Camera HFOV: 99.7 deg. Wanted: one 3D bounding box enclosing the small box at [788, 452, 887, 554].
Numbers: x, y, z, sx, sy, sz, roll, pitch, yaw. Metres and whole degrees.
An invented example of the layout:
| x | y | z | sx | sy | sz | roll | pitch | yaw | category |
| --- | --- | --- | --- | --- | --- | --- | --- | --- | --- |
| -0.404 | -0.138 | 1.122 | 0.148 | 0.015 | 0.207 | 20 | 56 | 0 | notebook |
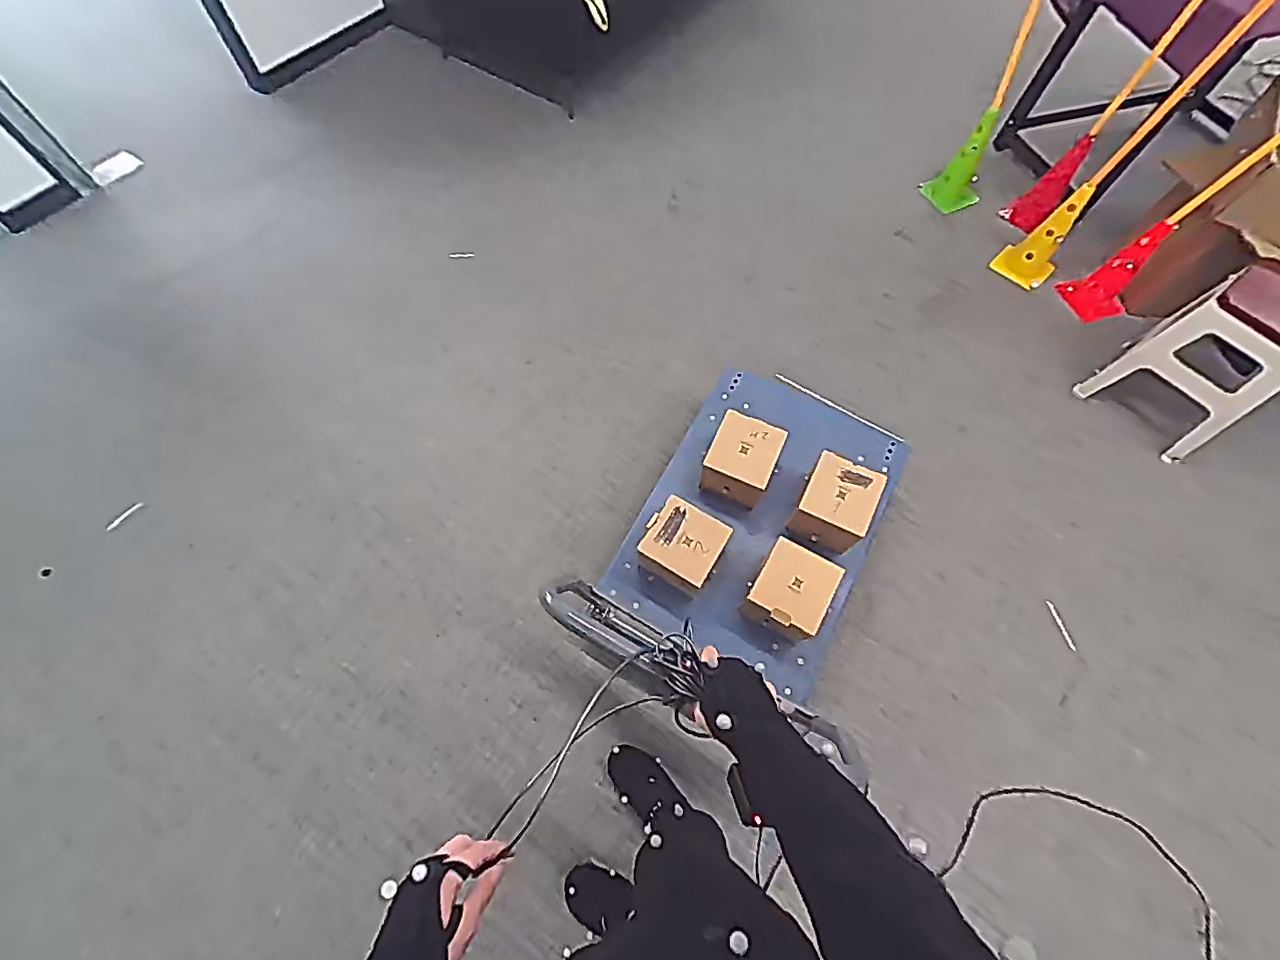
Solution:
| x | y | z | sx | sy | sz | roll | pitch | yaw | category |
| --- | --- | --- | --- | --- | --- | --- | --- | --- | --- |
| 0.492 | 0.064 | 1.373 | 0.168 | 0.176 | 0.179 | 26 | 73 | 12 | small box |

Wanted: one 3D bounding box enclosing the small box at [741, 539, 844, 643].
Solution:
| x | y | z | sx | sy | sz | roll | pitch | yaw | category |
| --- | --- | --- | --- | --- | --- | --- | --- | --- | --- |
| 0.358 | 0.271 | 1.300 | 0.168 | 0.176 | 0.179 | 29 | 73 | 12 | small box |

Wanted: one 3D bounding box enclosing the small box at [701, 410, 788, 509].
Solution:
| x | y | z | sx | sy | sz | roll | pitch | yaw | category |
| --- | --- | --- | --- | --- | --- | --- | --- | --- | --- |
| 0.267 | -0.047 | 1.424 | 0.168 | 0.176 | 0.179 | 24 | 72 | 10 | small box |
